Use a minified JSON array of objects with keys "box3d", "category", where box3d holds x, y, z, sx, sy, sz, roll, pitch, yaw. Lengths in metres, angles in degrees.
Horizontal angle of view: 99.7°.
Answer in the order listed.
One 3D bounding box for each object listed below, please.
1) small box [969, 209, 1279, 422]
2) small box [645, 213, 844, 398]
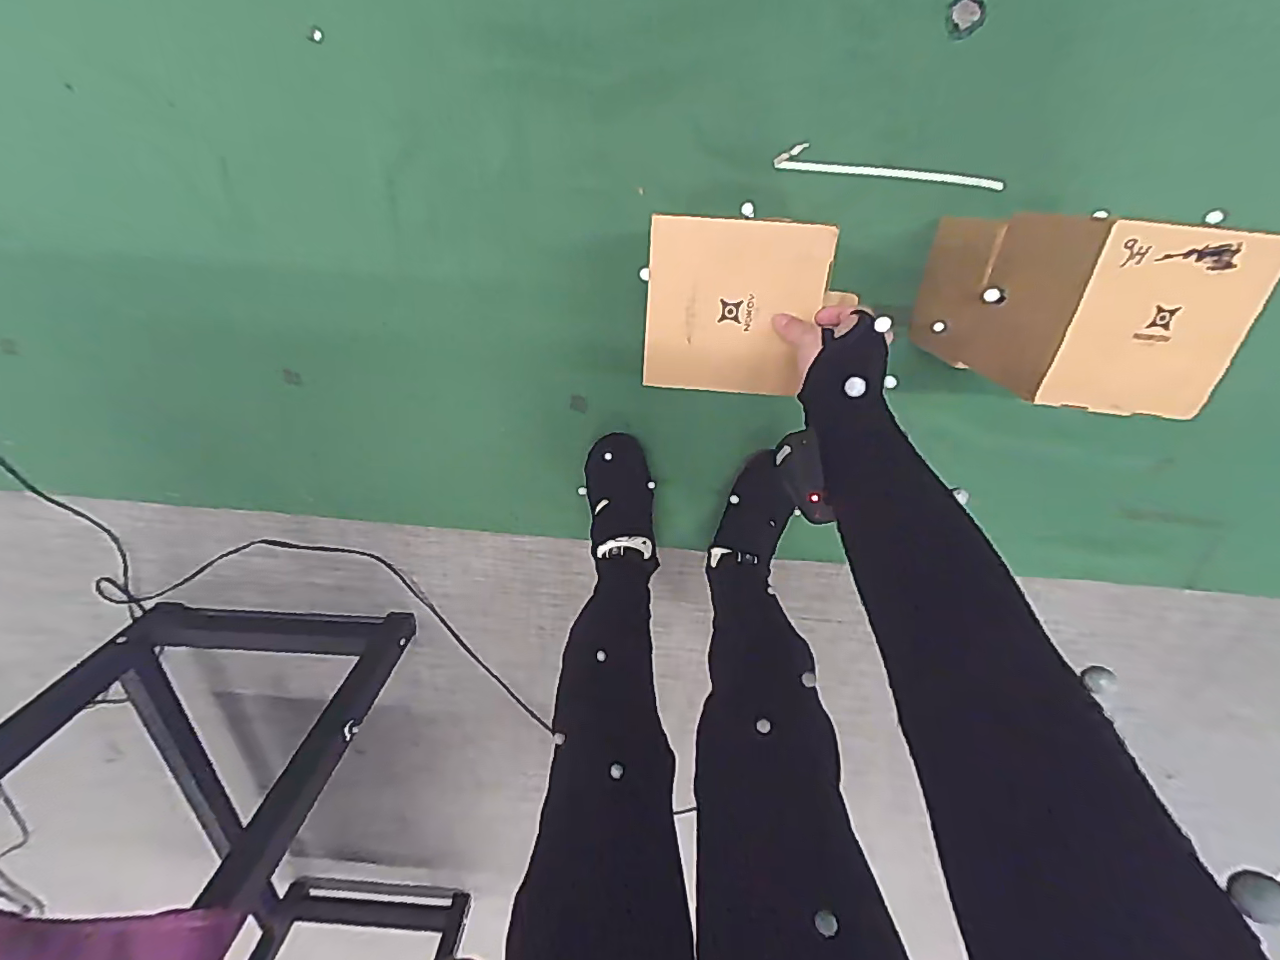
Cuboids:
[{"box3d":[0.493,-0.182,0.582,0.168,0.176,0.179,6,119,-1],"category":"small box"},{"box3d":[0.101,-0.200,0.602,0.179,0.176,0.168,5,116,2],"category":"small box"}]
